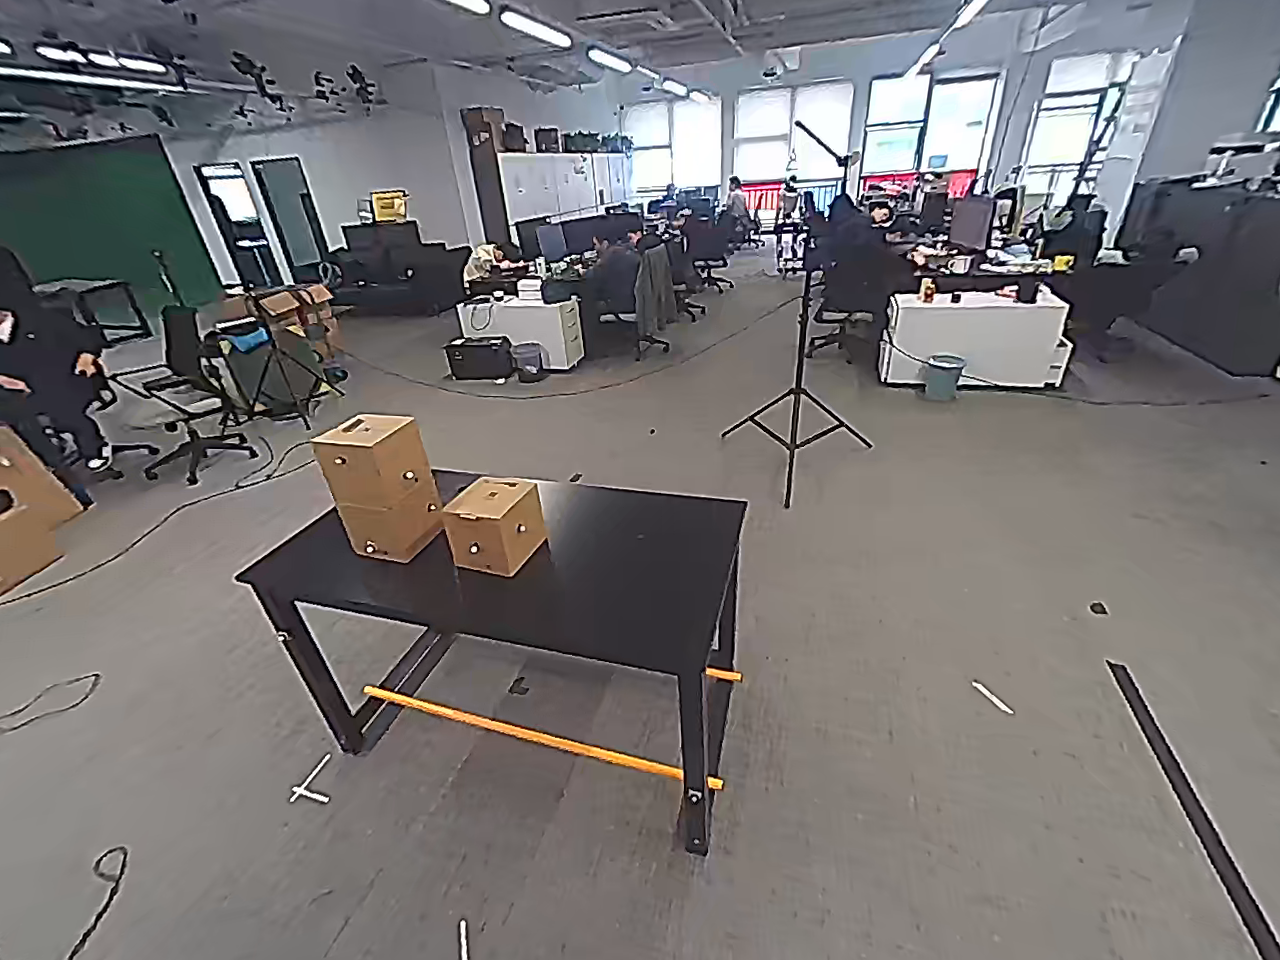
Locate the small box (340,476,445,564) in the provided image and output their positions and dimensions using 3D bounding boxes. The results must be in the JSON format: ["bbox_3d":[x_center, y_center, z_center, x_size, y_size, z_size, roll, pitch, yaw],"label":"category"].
[{"bbox_3d":[-0.640,0.096,1.426,0.168,0.176,0.179,5,32,17],"label":"small box"}]

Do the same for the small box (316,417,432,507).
[{"bbox_3d":[-0.652,-0.046,1.344,0.179,0.176,0.168,5,31,16],"label":"small box"}]

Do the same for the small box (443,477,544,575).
[{"bbox_3d":[-0.354,0.115,1.351,0.168,0.176,0.179,8,32,19],"label":"small box"}]
